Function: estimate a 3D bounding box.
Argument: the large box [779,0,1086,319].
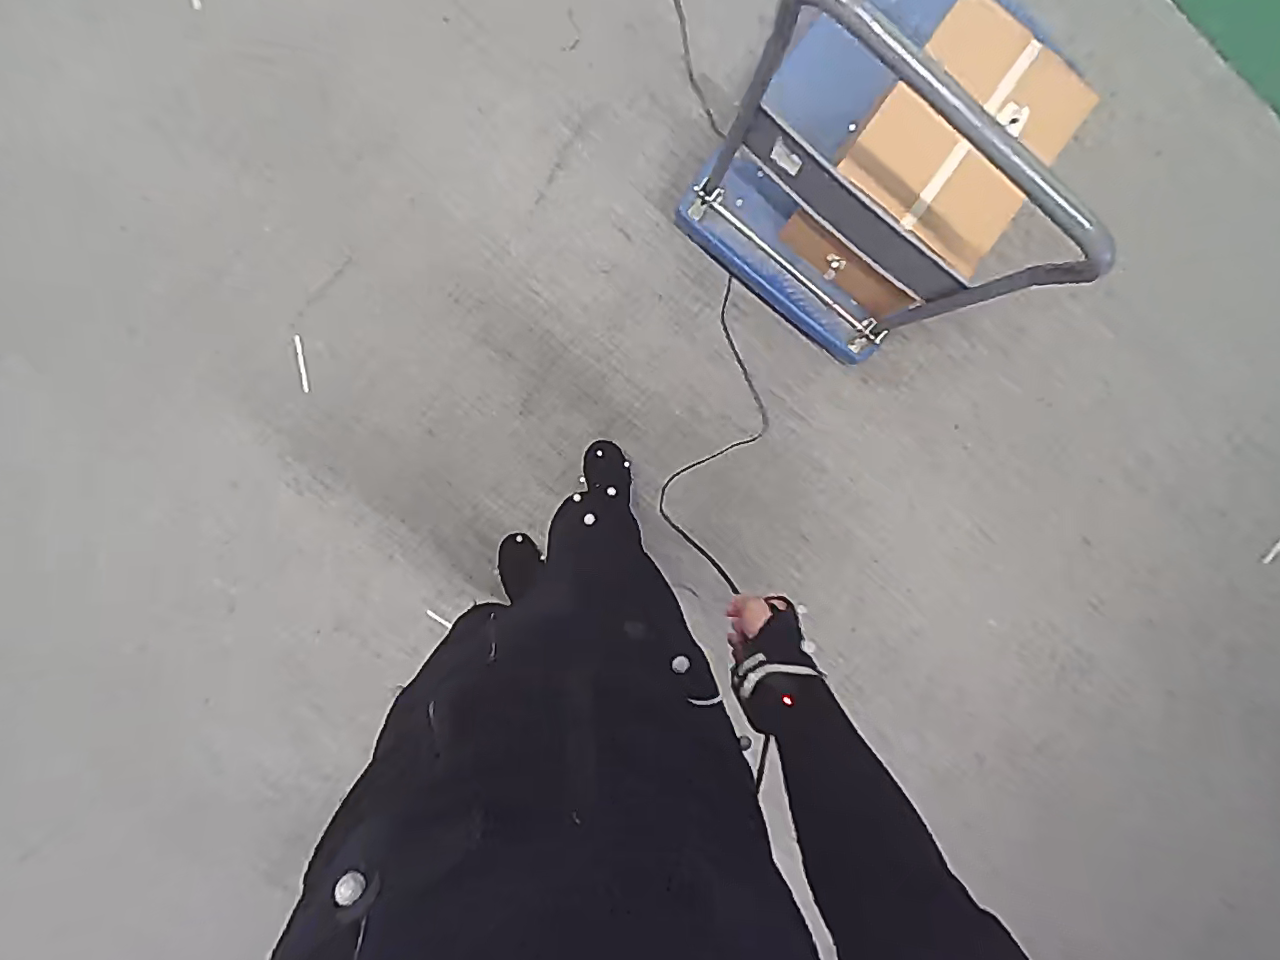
[{"bbox_3d":[0.559,-0.612,1.105,0.320,0.320,0.408,36,90,-7],"label":"large box"}]
